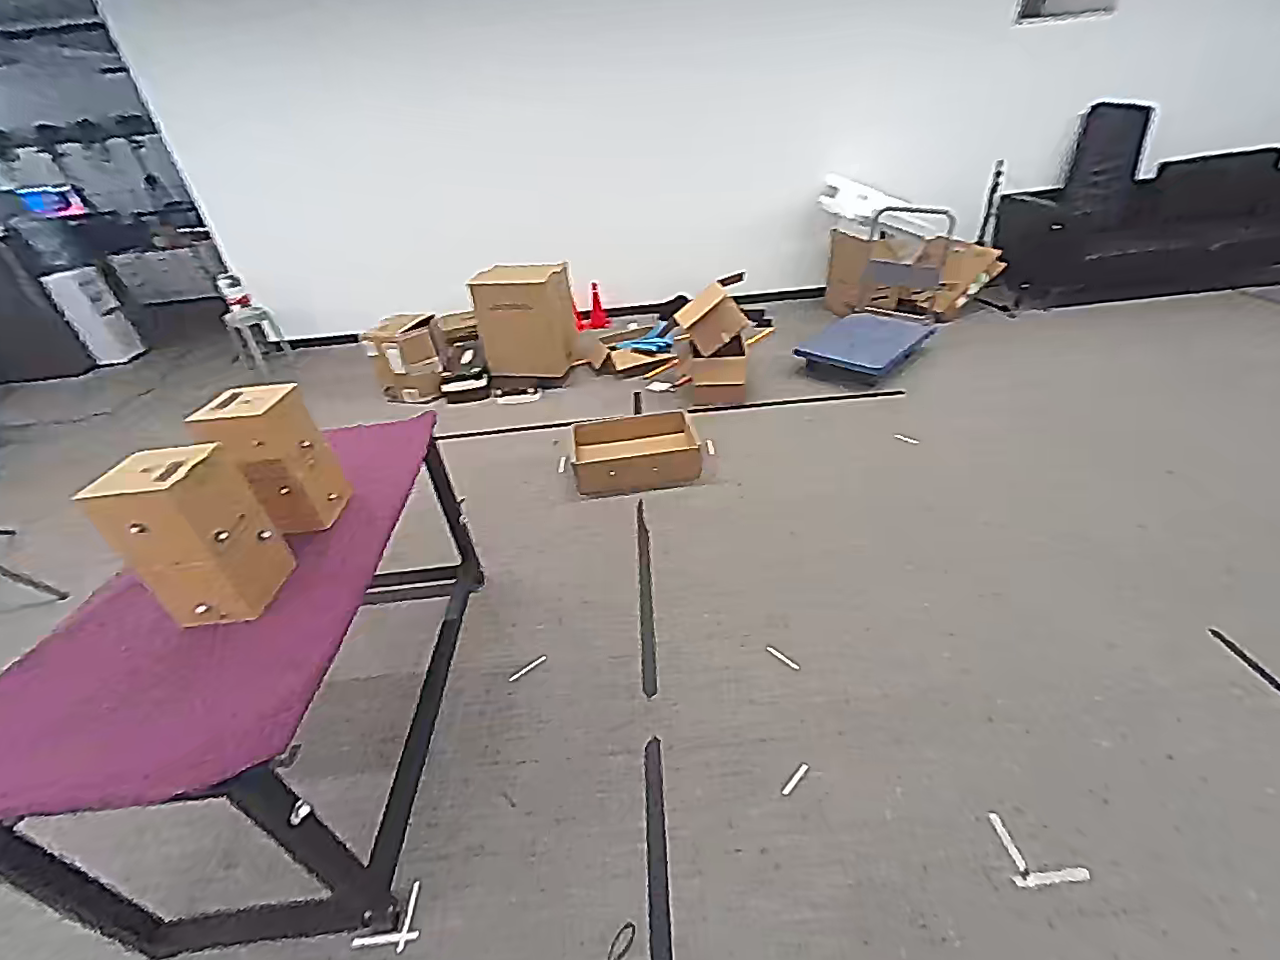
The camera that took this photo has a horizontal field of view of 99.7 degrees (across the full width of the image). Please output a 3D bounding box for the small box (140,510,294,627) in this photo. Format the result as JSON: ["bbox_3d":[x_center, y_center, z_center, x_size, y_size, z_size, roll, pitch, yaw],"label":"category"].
[{"bbox_3d":[-0.883,0.188,1.155,0.168,0.176,0.179,-6,34,2],"label":"small box"}]

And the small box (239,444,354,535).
[{"bbox_3d":[-0.879,0.028,1.387,0.179,0.176,0.168,-6,35,2],"label":"small box"}]

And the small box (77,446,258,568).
[{"bbox_3d":[-0.905,0.053,1.062,0.179,0.176,0.168,-7,34,1],"label":"small box"}]
